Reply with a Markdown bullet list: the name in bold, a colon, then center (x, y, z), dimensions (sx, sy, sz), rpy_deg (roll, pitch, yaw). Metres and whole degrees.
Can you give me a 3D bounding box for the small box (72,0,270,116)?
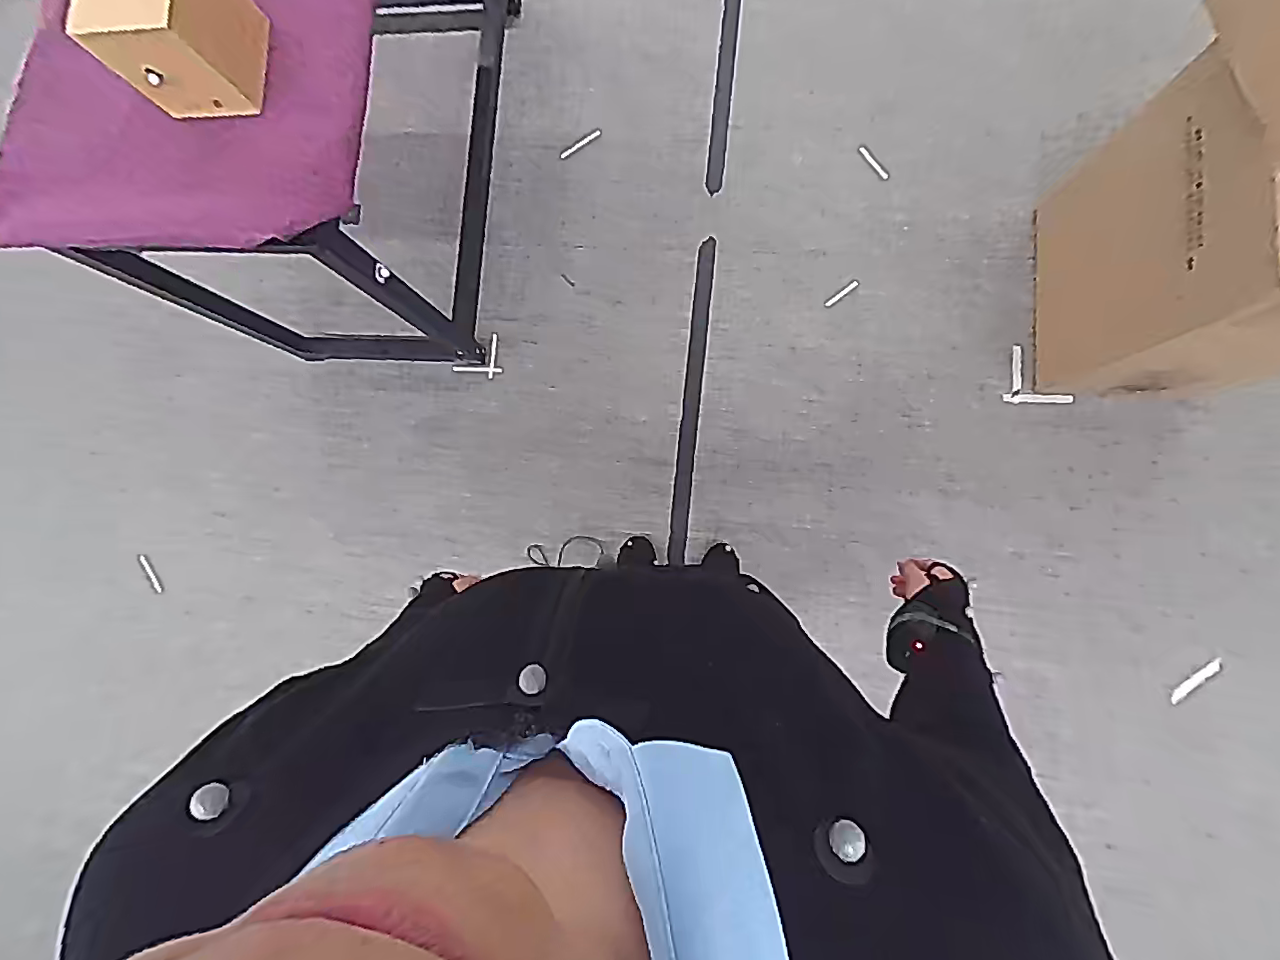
- **small box**: center (-0.726, -0.711, 0.857), dimensions (0.168, 0.176, 0.179), rpy_deg (1, 84, 6)
